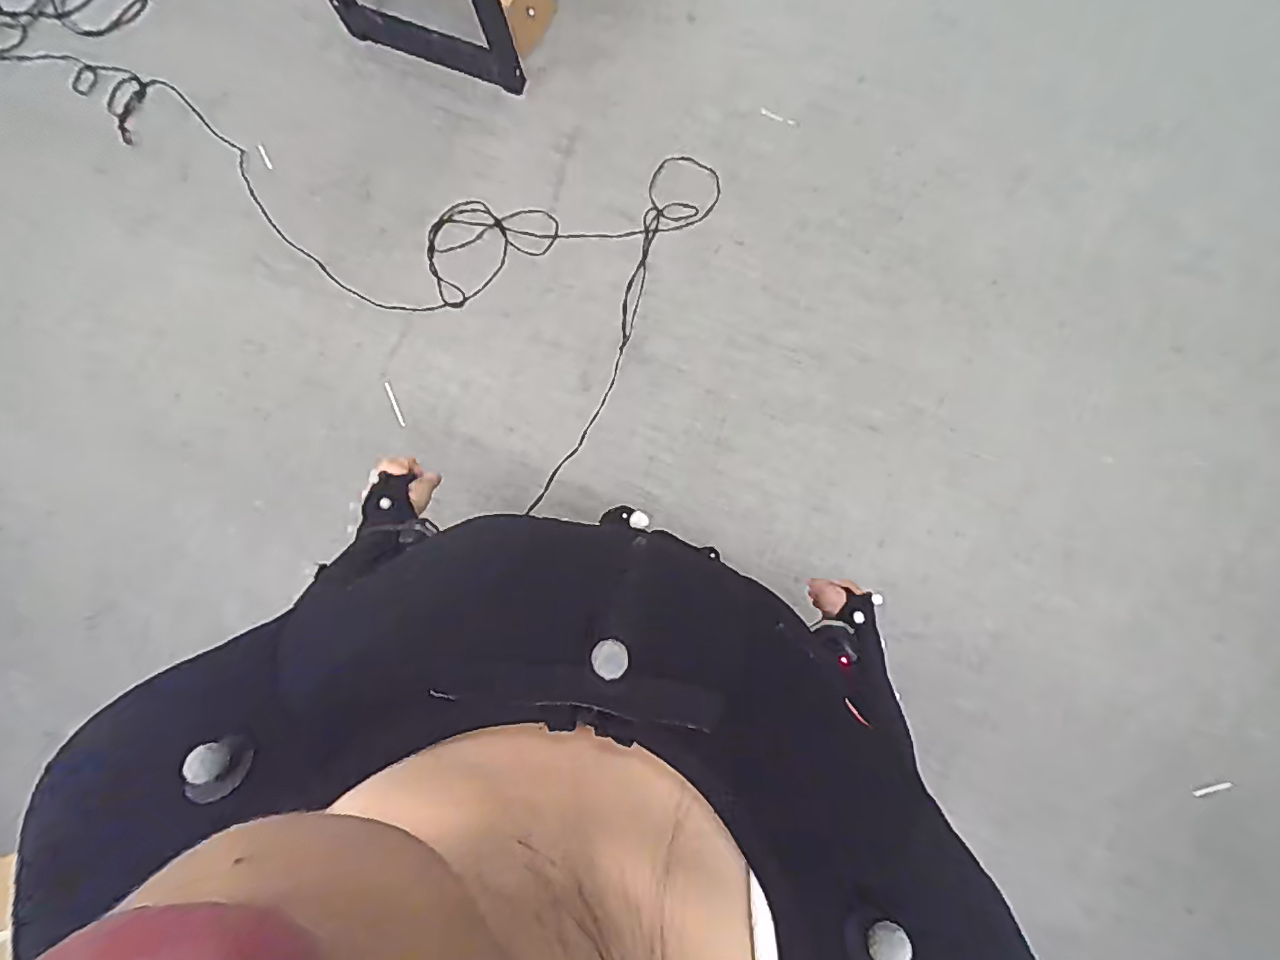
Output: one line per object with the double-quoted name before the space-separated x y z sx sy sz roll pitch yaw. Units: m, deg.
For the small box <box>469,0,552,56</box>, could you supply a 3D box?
"small box" -0.376 -1.389 1.559 0.168 0.176 0.179 35 89 4
